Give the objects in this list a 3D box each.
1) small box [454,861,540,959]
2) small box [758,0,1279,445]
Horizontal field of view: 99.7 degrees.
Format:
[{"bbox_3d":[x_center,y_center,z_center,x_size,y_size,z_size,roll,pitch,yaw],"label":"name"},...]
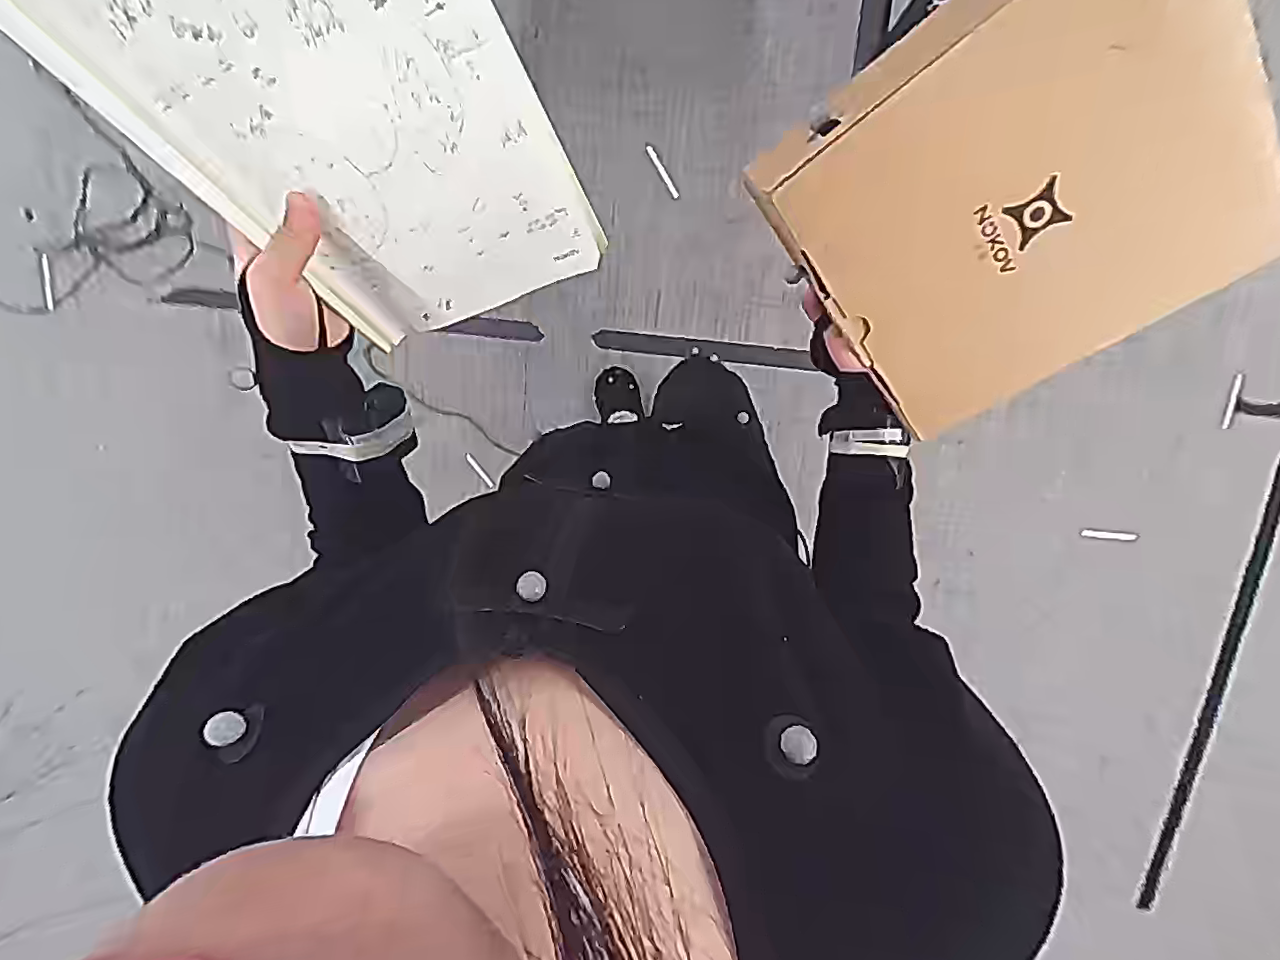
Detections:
[{"bbox_3d":[-0.342,1.069,1.313,0.168,0.176,0.179,2,102,2],"label":"small box"},{"bbox_3d":[0.187,-0.159,0.314,0.179,0.176,0.168,-32,114,24],"label":"small box"}]
